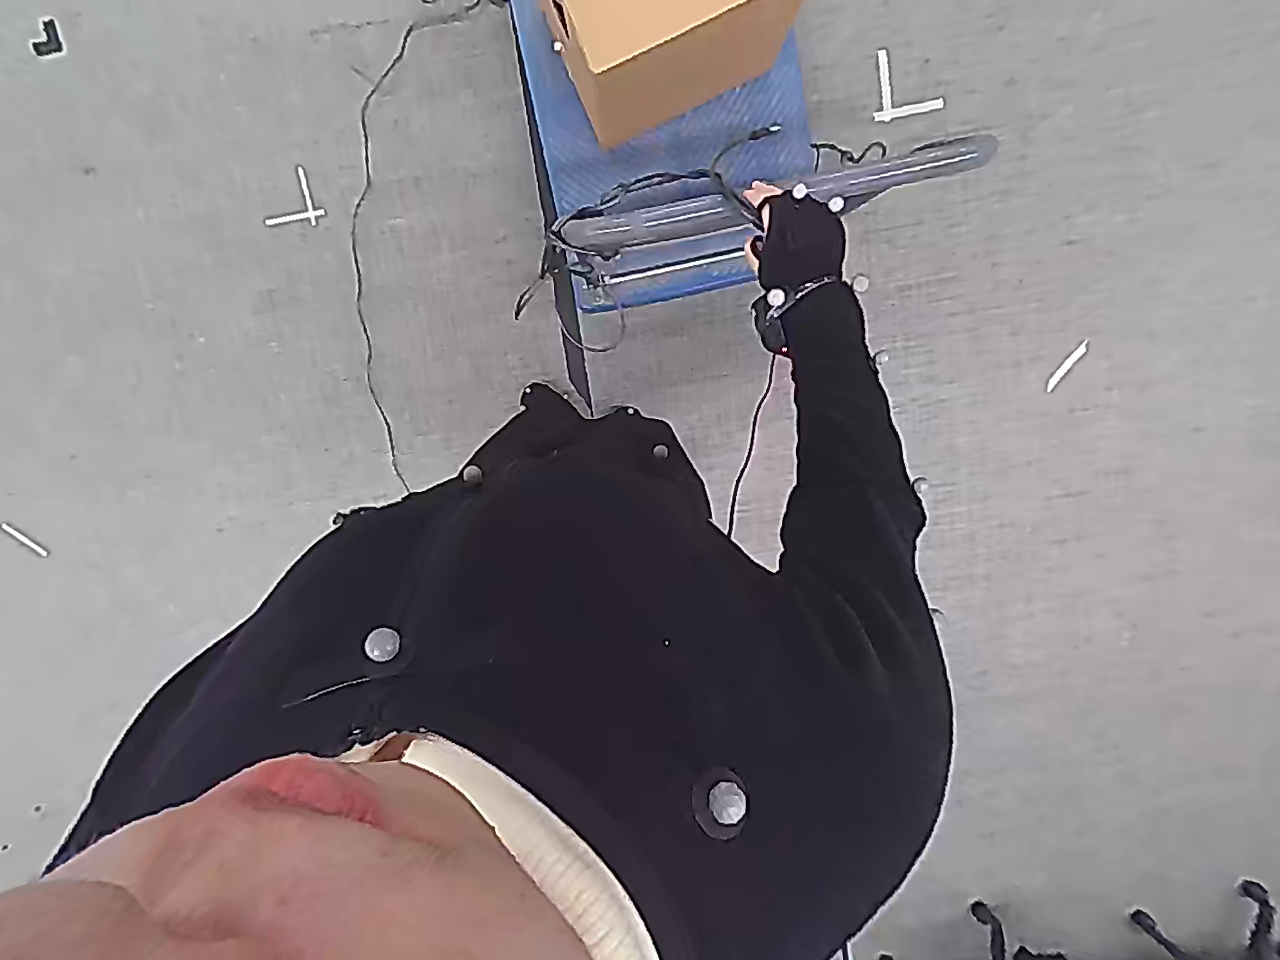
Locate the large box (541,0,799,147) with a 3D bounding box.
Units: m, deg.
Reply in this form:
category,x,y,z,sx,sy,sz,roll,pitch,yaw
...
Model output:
category,x,y,z,sx,sy,sz,roll,pitch,yaw
large box,0.040,-0.908,0.997,0.408,0.320,0.320,-23,101,3
